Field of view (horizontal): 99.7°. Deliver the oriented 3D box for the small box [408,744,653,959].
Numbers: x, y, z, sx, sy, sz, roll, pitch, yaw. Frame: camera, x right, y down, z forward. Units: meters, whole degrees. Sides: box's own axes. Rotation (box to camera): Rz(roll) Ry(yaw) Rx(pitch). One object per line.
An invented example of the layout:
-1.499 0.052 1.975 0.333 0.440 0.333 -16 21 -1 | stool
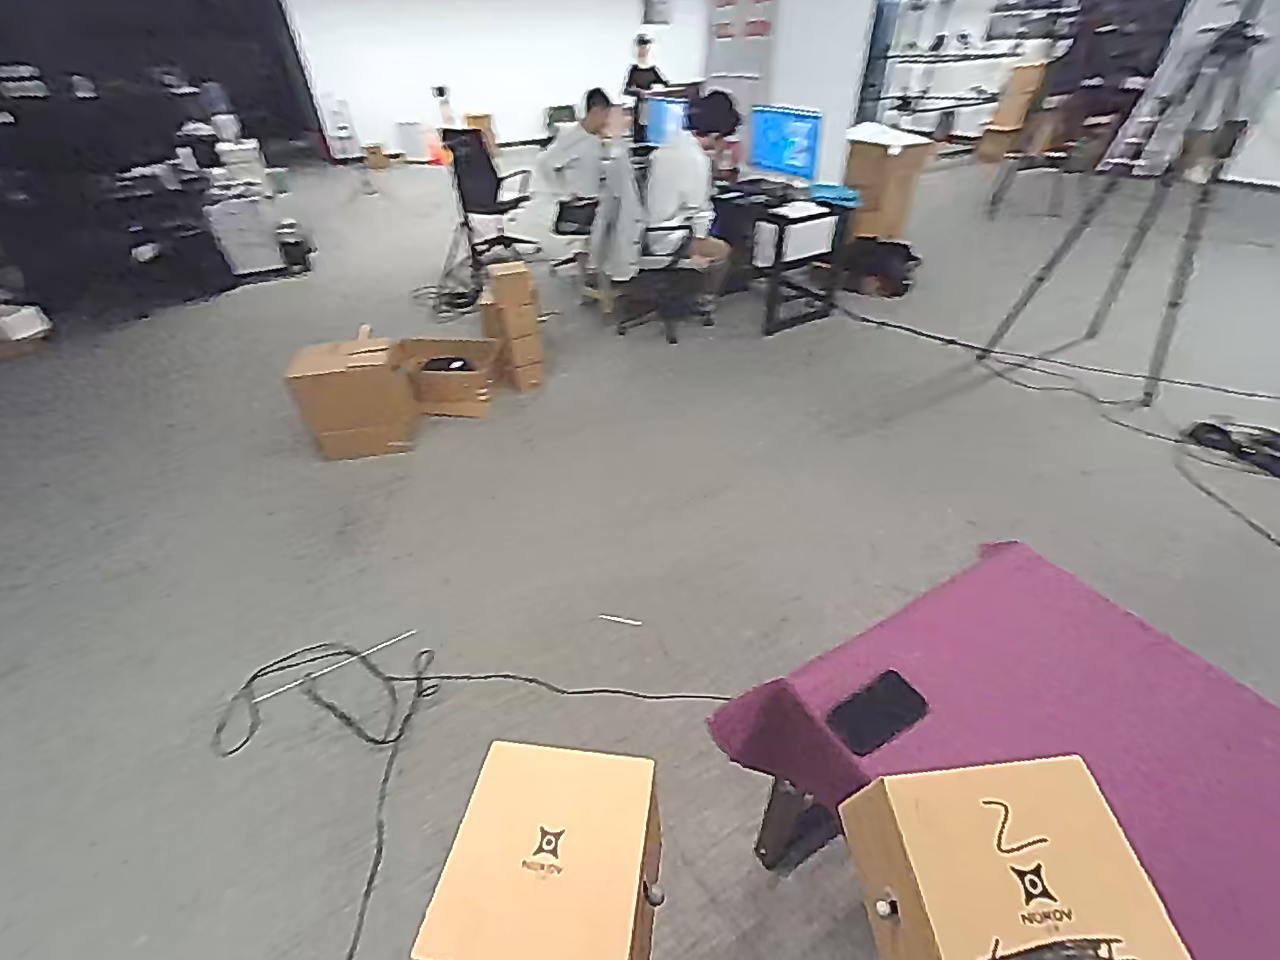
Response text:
-0.079 0.380 0.501 0.168 0.176 0.179 2 36 8 | small box
